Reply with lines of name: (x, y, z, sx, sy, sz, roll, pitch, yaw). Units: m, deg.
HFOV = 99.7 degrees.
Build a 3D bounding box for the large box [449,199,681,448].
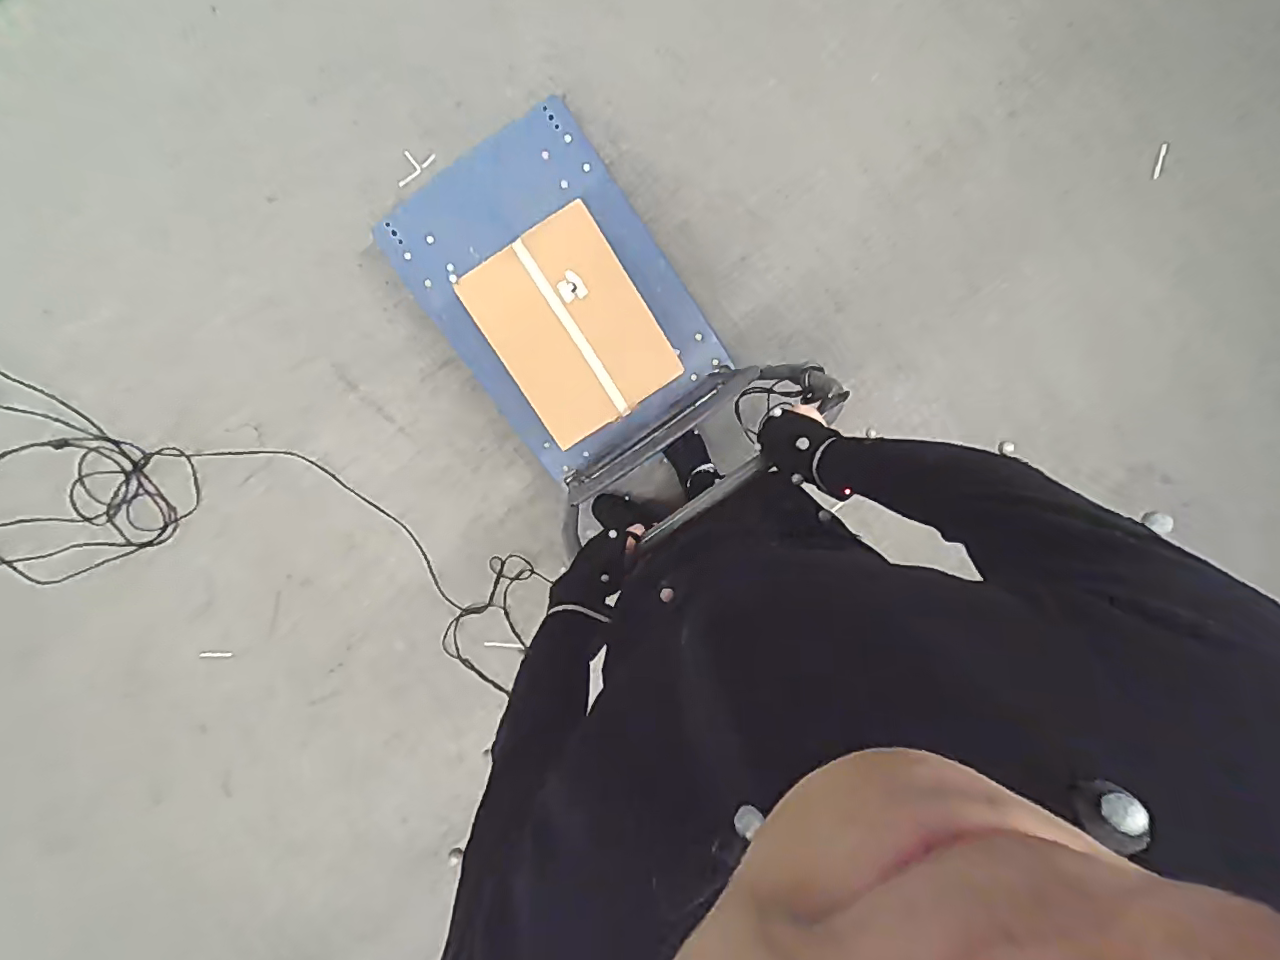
large box: (-0.151, -0.329, 1.238, 0.320, 0.320, 0.408, -32, 98, 1)
